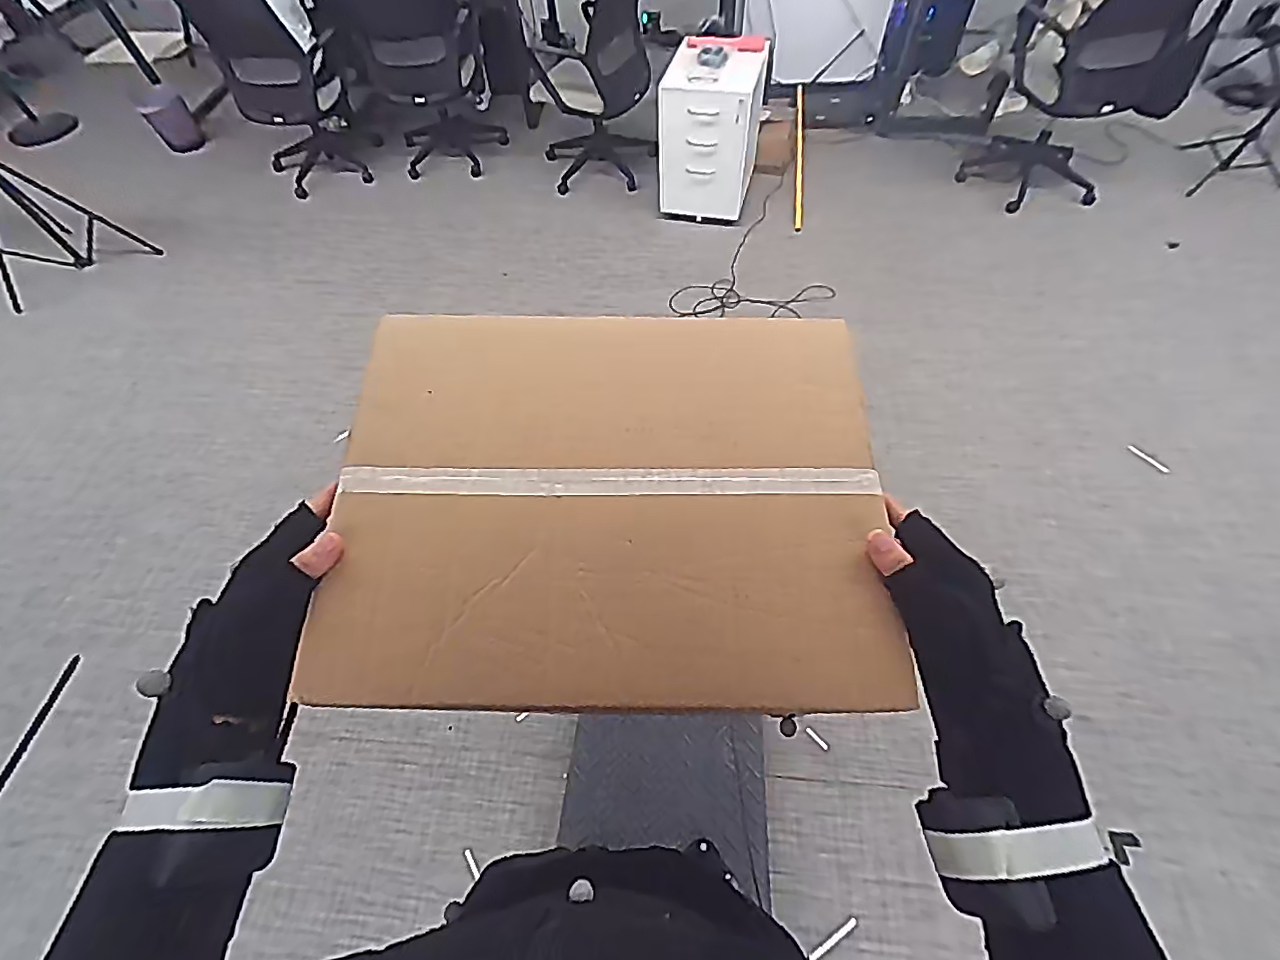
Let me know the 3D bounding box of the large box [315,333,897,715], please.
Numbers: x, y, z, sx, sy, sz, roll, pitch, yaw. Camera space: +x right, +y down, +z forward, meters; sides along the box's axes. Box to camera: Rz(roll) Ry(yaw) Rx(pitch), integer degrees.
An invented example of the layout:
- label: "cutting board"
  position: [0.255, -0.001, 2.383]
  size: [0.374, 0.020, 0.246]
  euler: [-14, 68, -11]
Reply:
- label: "large box"
  position: [-0.022, 0.069, 0.558]
  size: [0.408, 0.320, 0.320]
  euler: [0, 66, 0]
